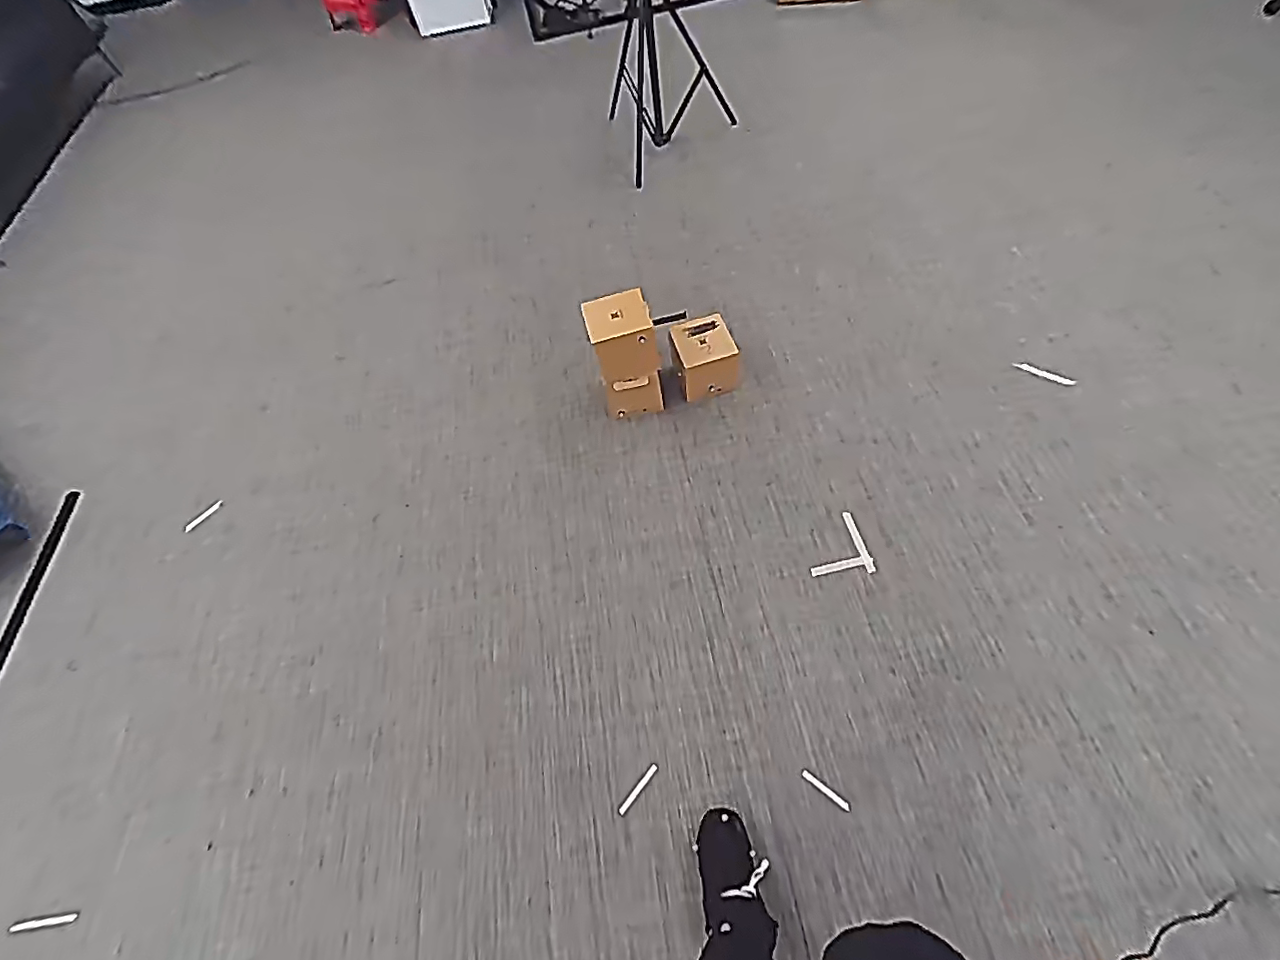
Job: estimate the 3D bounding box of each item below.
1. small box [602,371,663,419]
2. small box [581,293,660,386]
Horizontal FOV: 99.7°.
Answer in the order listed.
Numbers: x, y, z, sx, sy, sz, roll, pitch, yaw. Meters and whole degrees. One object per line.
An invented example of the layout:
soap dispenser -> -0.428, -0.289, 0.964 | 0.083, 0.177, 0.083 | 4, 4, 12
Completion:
small box -> -0.026, -0.304, 1.670 | 0.168, 0.176, 0.179 | -10, 58, 3
small box -> -0.053, -0.393, 1.536 | 0.179, 0.176, 0.168 | -16, 58, -1
